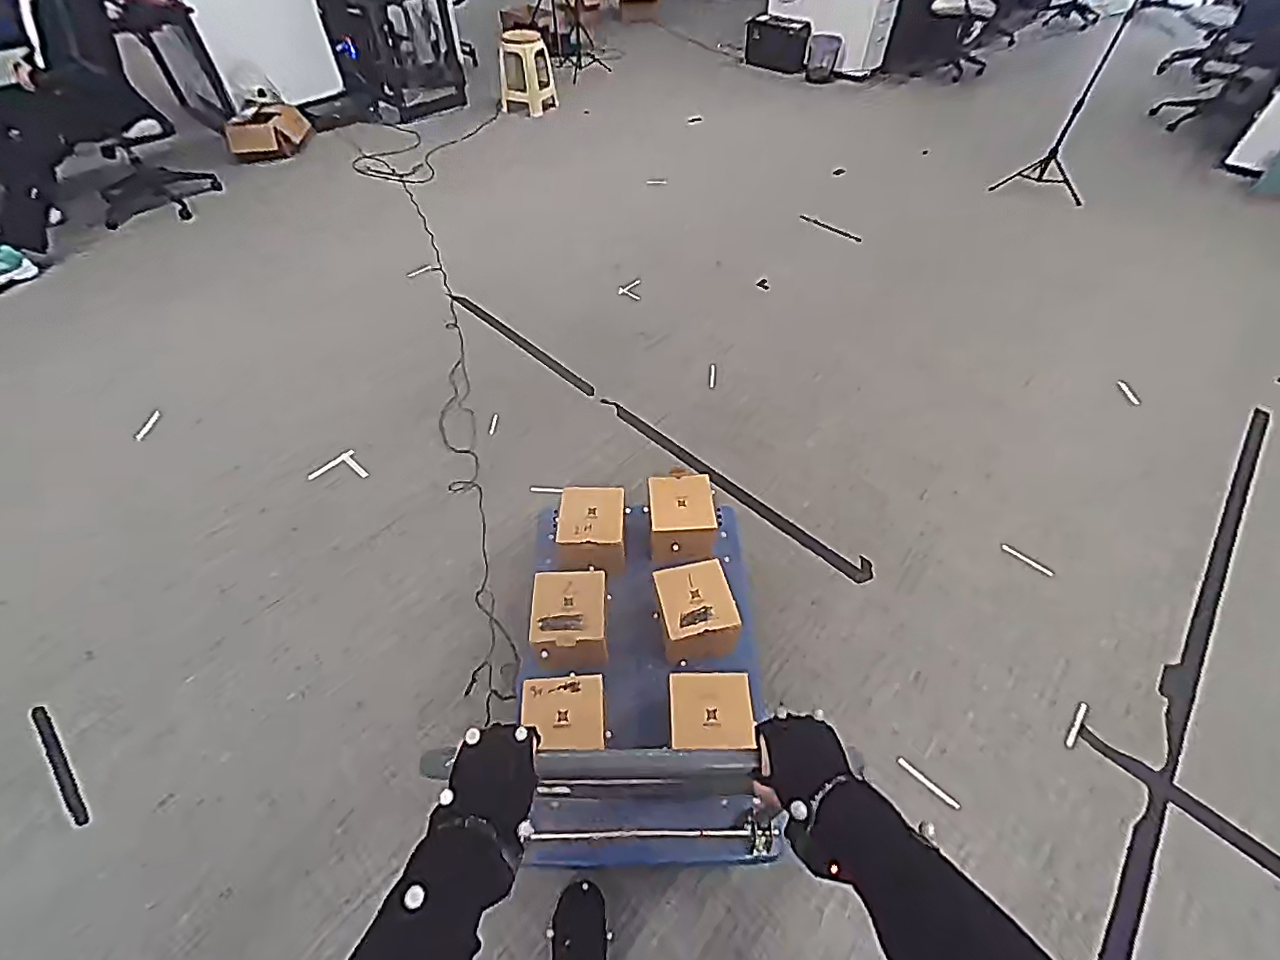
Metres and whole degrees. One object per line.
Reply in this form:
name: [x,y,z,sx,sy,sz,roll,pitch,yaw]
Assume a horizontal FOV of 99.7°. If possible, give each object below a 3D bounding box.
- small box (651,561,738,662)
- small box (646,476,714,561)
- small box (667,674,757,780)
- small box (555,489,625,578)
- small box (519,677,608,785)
small box: [0.126,0.324,1.304,0.168,0.176,0.179,-10,51,-8]
small box: [0.105,0.112,1.474,0.168,0.176,0.179,-3,51,-2]
small box: [0.143,0.526,1.144,0.168,0.176,0.179,0,51,-1]
small box: [-0.127,0.143,1.448,0.168,0.176,0.179,1,52,1]
small box: [-0.155,0.532,1.137,0.168,0.176,0.179,-3,52,-4]
